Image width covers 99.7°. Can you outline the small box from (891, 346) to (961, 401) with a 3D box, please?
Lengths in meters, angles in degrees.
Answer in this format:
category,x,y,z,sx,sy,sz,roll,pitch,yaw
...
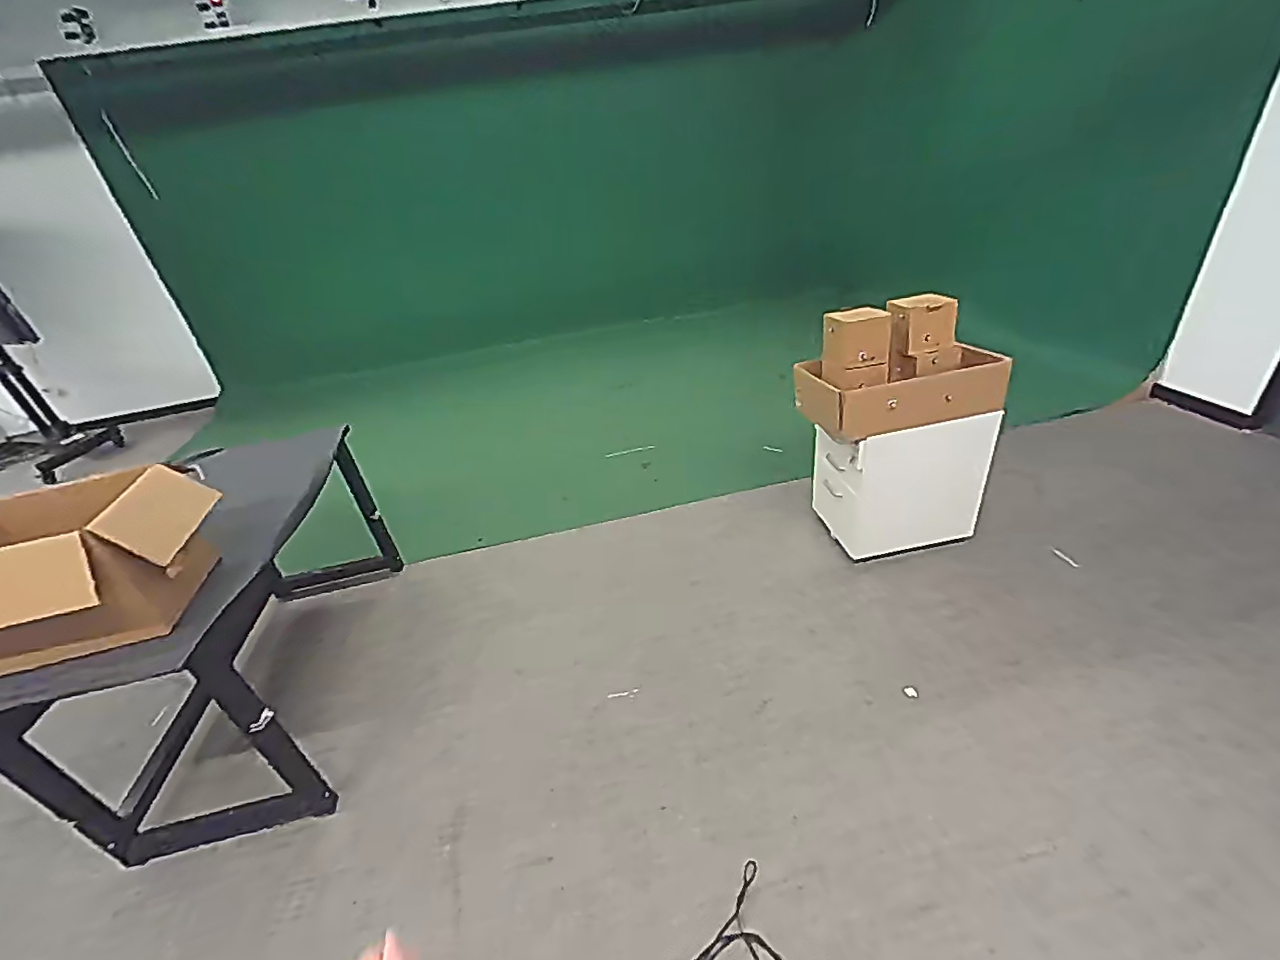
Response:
category,x,y,z,sx,sy,sz,roll,pitch,yaw
small box,1.051,-0.405,2.002,0.168,0.176,0.179,-13,26,-2

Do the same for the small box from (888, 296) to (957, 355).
category,x,y,z,sx,sy,sz,roll,pitch,yaw
small box,1.012,-0.560,1.957,0.168,0.176,0.179,-10,27,1

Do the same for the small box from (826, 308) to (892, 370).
category,x,y,z,sx,sy,sz,roll,pitch,yaw
small box,0.768,-0.500,1.915,0.168,0.176,0.179,-11,27,-2
